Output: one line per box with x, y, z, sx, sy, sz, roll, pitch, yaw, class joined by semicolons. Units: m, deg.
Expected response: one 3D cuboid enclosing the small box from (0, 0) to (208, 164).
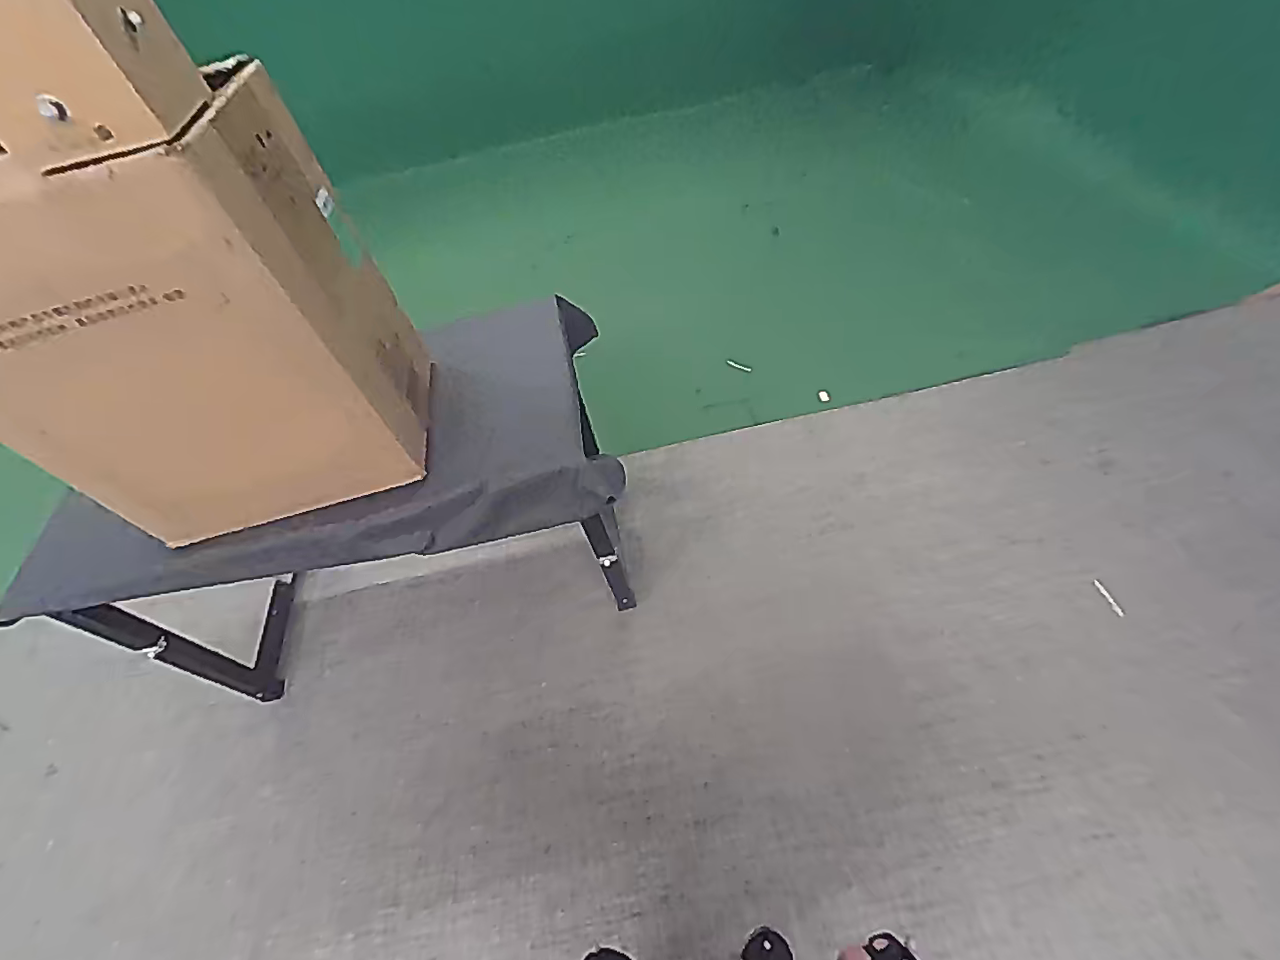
-0.636;-0.484;0.602;0.168;0.176;0.179;-15;53;-1;small box
